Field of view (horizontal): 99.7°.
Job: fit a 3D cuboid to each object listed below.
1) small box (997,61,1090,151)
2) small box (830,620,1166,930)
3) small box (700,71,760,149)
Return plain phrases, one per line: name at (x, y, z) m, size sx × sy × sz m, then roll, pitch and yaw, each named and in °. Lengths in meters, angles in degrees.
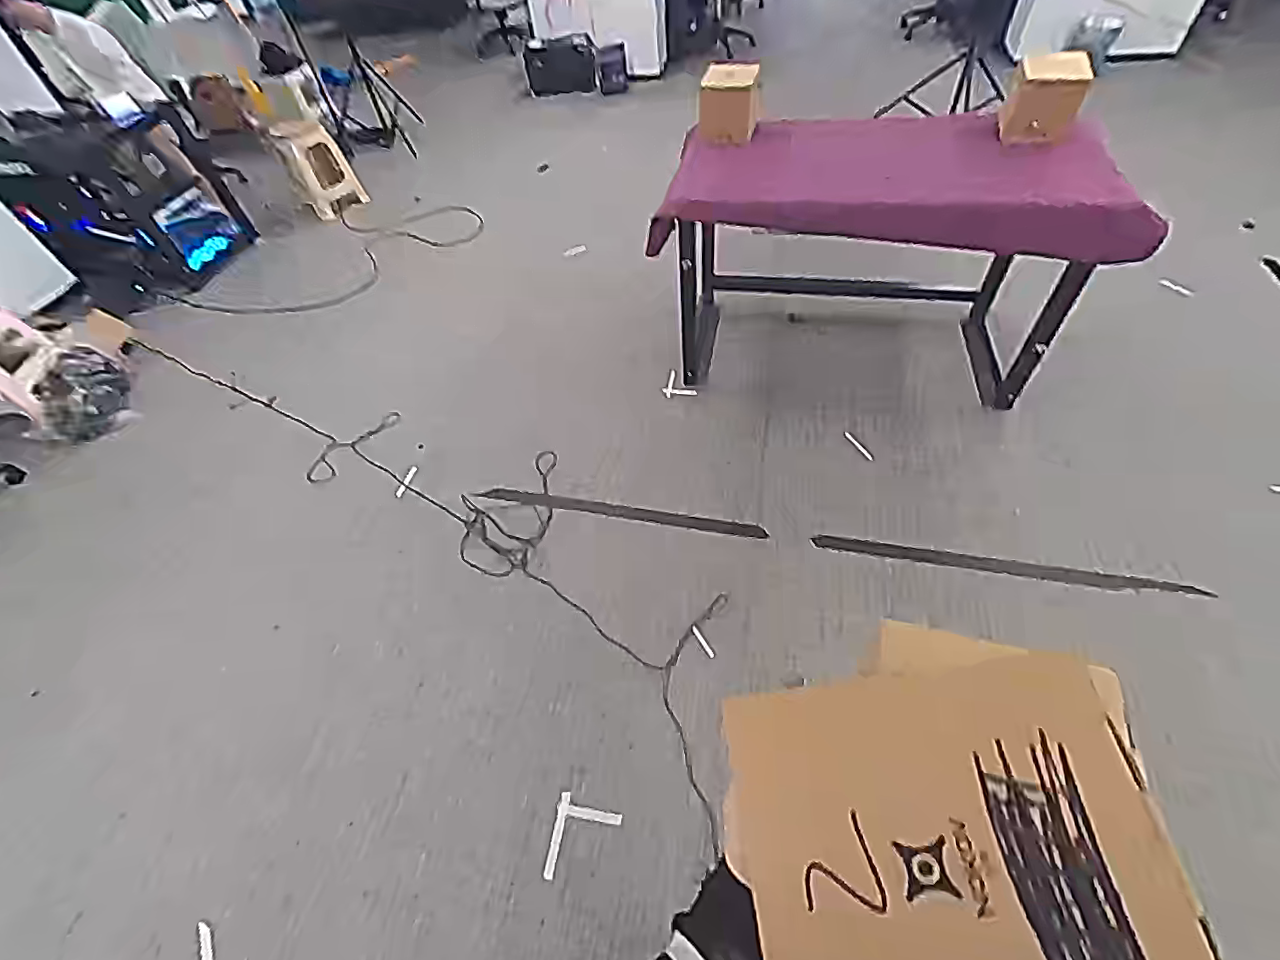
small box at (1.184, -1.108, 1.602) m, size 0.168 × 0.176 × 0.179 m, roll 11°, pitch 58°, yaw 15°
small box at (0.278, 0.251, 0.465) m, size 0.179 × 0.176 × 0.168 m, roll 12°, pitch 51°, yaw 16°
small box at (0.298, -1.231, 1.799) m, size 0.168 × 0.176 × 0.179 m, roll 10°, pitch 56°, yaw 14°
